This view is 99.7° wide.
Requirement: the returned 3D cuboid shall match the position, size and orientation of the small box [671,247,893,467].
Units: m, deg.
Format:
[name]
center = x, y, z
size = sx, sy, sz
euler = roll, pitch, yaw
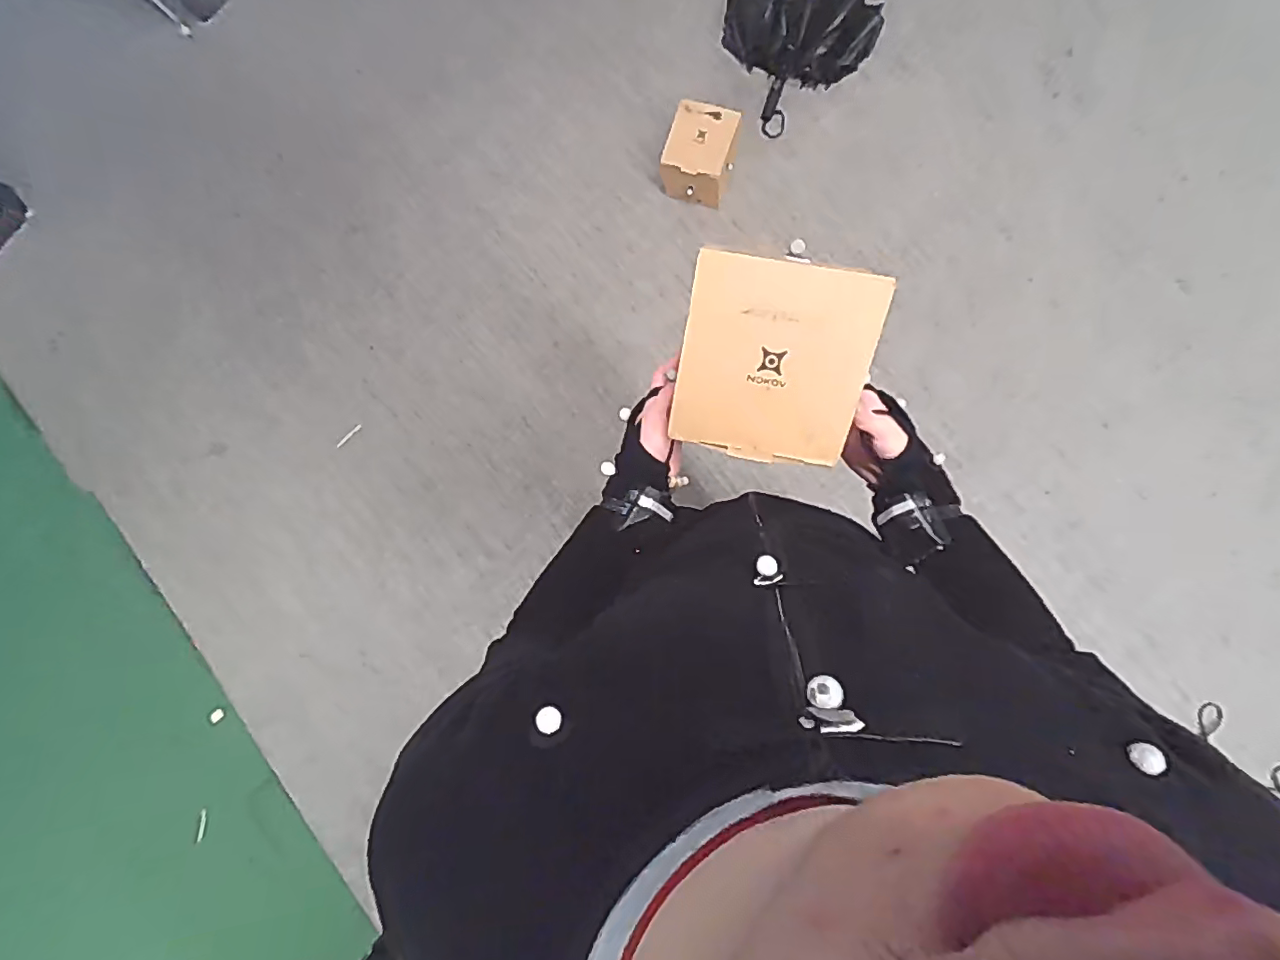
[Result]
[small box]
center = 0.132, -0.136, 0.562
size = 0.168, 0.176, 0.179
euler = 10, 115, 3
